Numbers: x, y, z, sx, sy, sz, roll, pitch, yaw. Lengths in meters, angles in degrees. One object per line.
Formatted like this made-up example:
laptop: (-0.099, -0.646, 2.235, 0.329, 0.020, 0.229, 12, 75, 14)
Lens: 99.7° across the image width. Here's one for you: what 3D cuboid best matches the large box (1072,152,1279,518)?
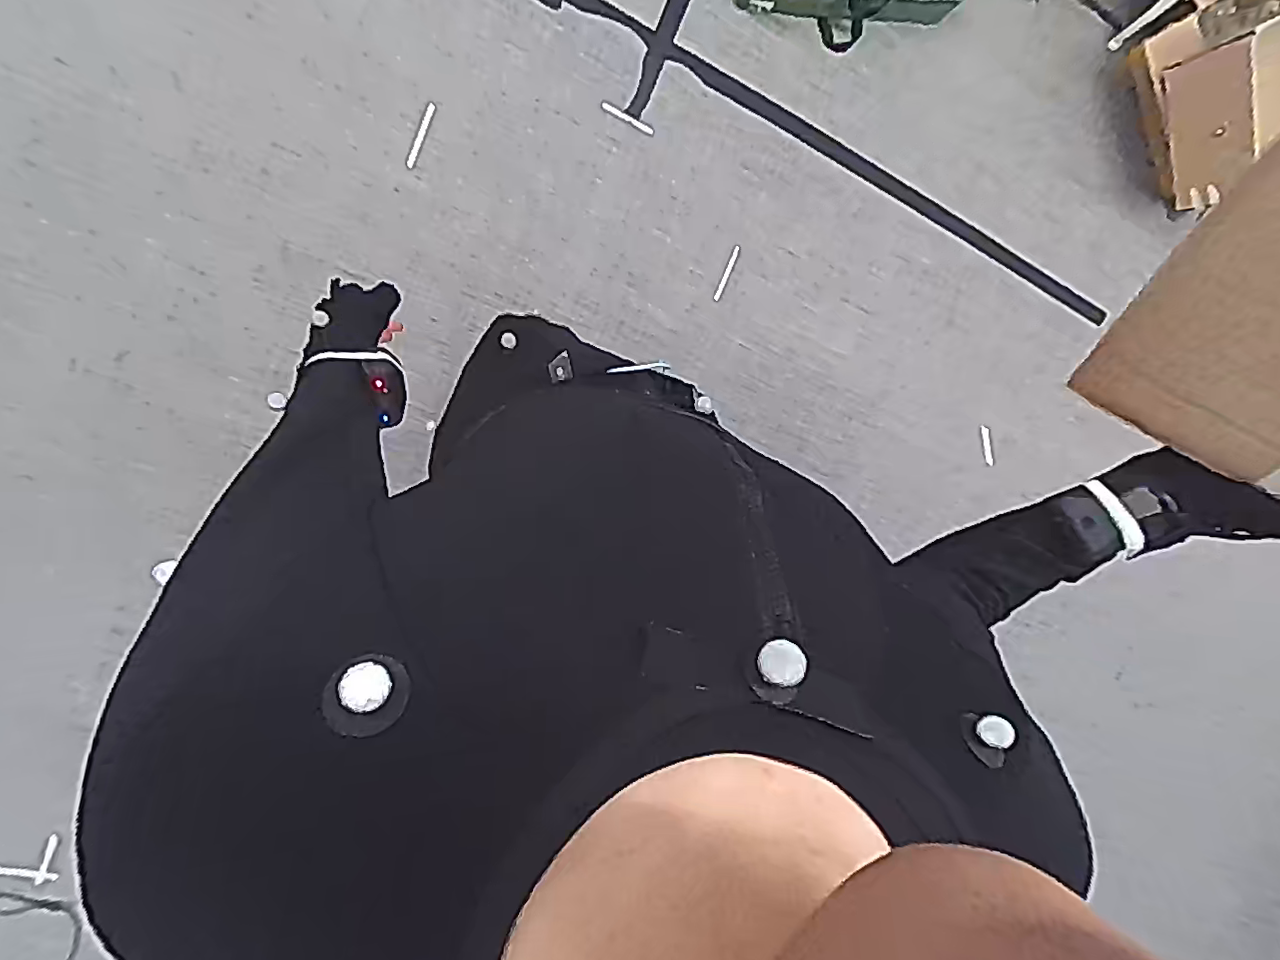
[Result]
large box: (0.616, -0.179, 0.340, 0.320, 0.408, 0.320, -35, 66, -26)
